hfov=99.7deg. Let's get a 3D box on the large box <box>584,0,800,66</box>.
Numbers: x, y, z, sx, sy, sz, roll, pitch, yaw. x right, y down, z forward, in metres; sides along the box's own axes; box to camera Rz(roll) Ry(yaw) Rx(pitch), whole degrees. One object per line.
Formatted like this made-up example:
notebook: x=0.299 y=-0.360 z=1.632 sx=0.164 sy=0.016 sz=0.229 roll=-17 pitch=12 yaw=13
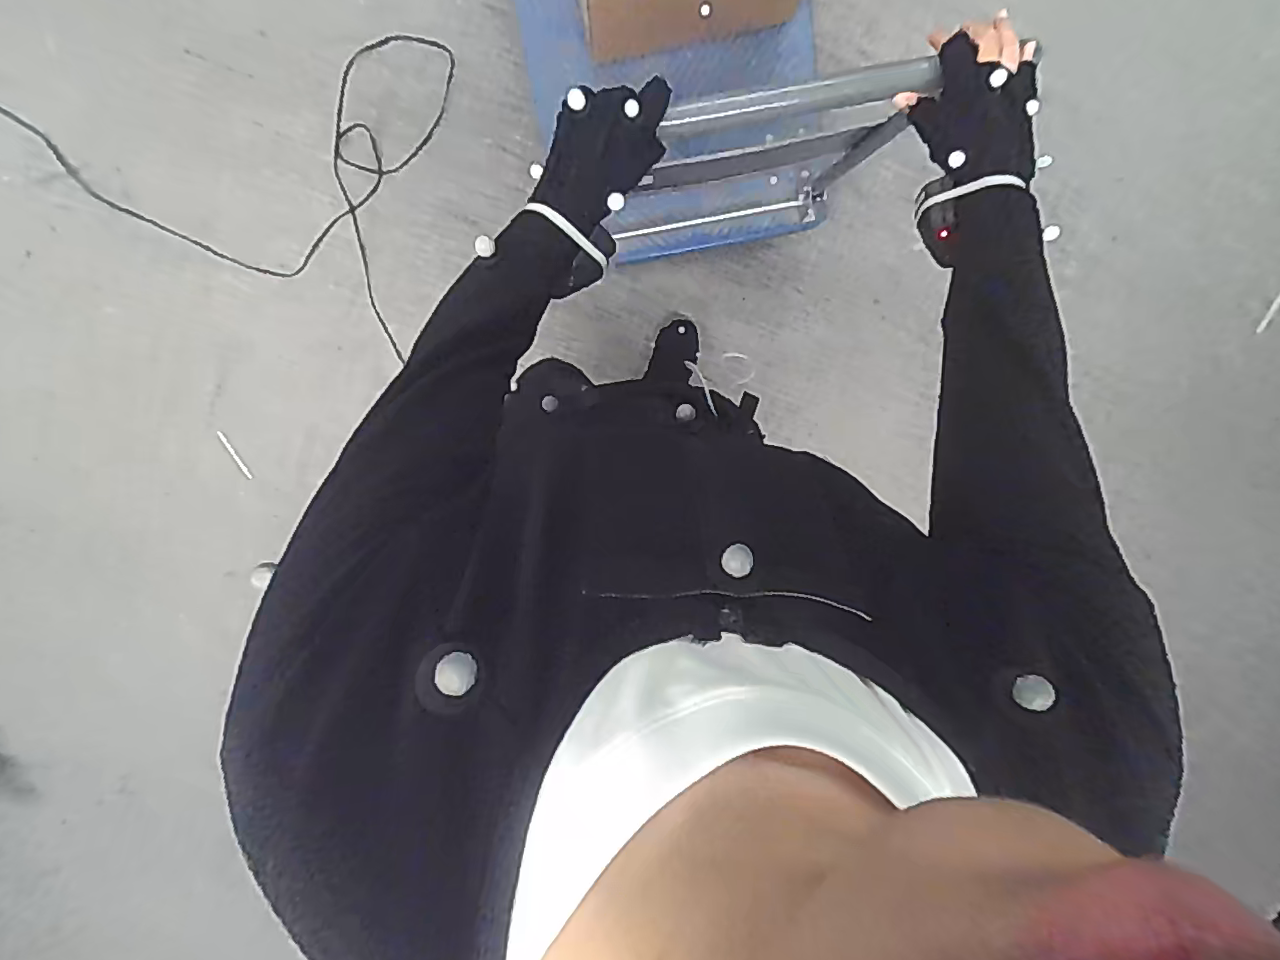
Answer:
large box: x=0.084 y=-0.978 z=0.906 sx=0.408 sy=0.320 sz=0.320 roll=-13 pitch=104 yaw=1
